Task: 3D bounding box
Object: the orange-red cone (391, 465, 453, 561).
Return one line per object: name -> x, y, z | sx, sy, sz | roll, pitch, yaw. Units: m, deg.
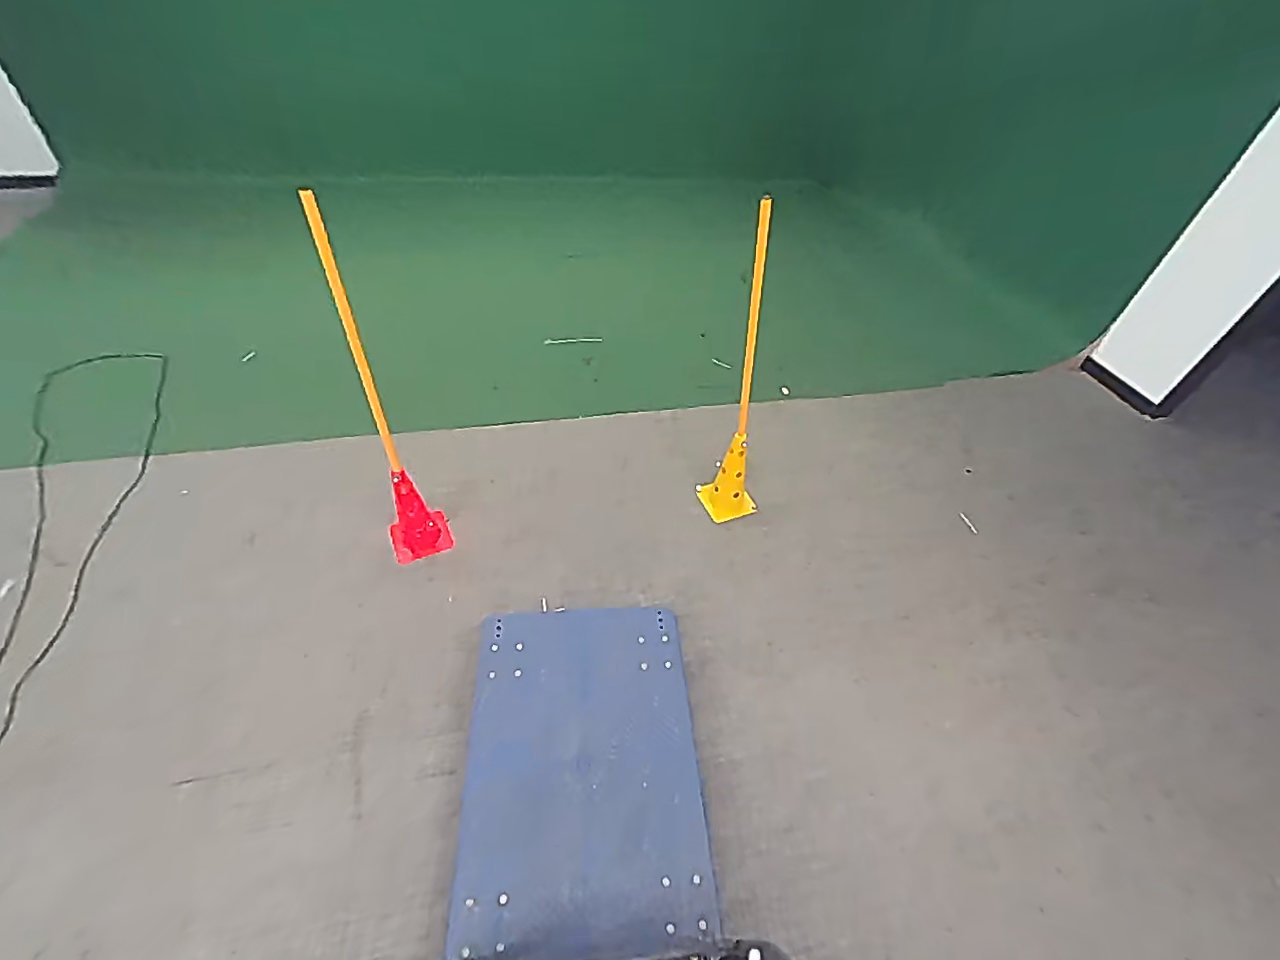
orange-red cone -> -0.798, 0.085, 1.875 | 0.199, 0.360, 0.198 | -19, 50, -19
